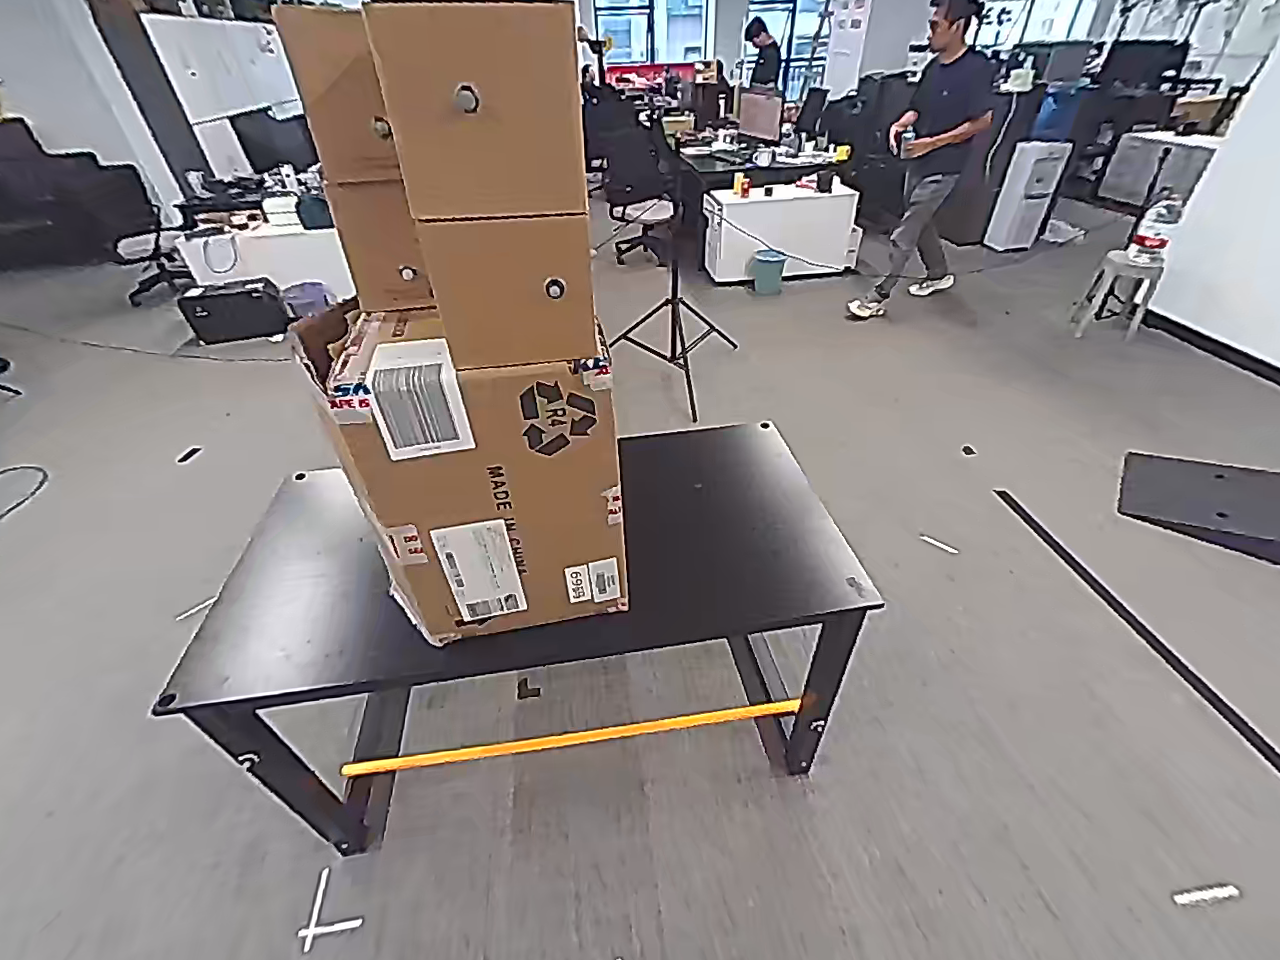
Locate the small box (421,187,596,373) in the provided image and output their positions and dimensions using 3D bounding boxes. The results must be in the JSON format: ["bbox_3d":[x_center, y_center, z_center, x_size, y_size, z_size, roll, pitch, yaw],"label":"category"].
[{"bbox_3d":[-0.150,-0.249,0.669,0.179,0.176,0.168,-8,39,-7],"label":"small box"}]

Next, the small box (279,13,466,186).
[{"bbox_3d":[-0.329,-0.490,0.707,0.168,0.176,0.179,-10,38,-12],"label":"small box"}]

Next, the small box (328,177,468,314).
[{"bbox_3d":[-0.335,-0.362,0.811,0.168,0.176,0.179,-9,38,-10],"label":"small box"}]
